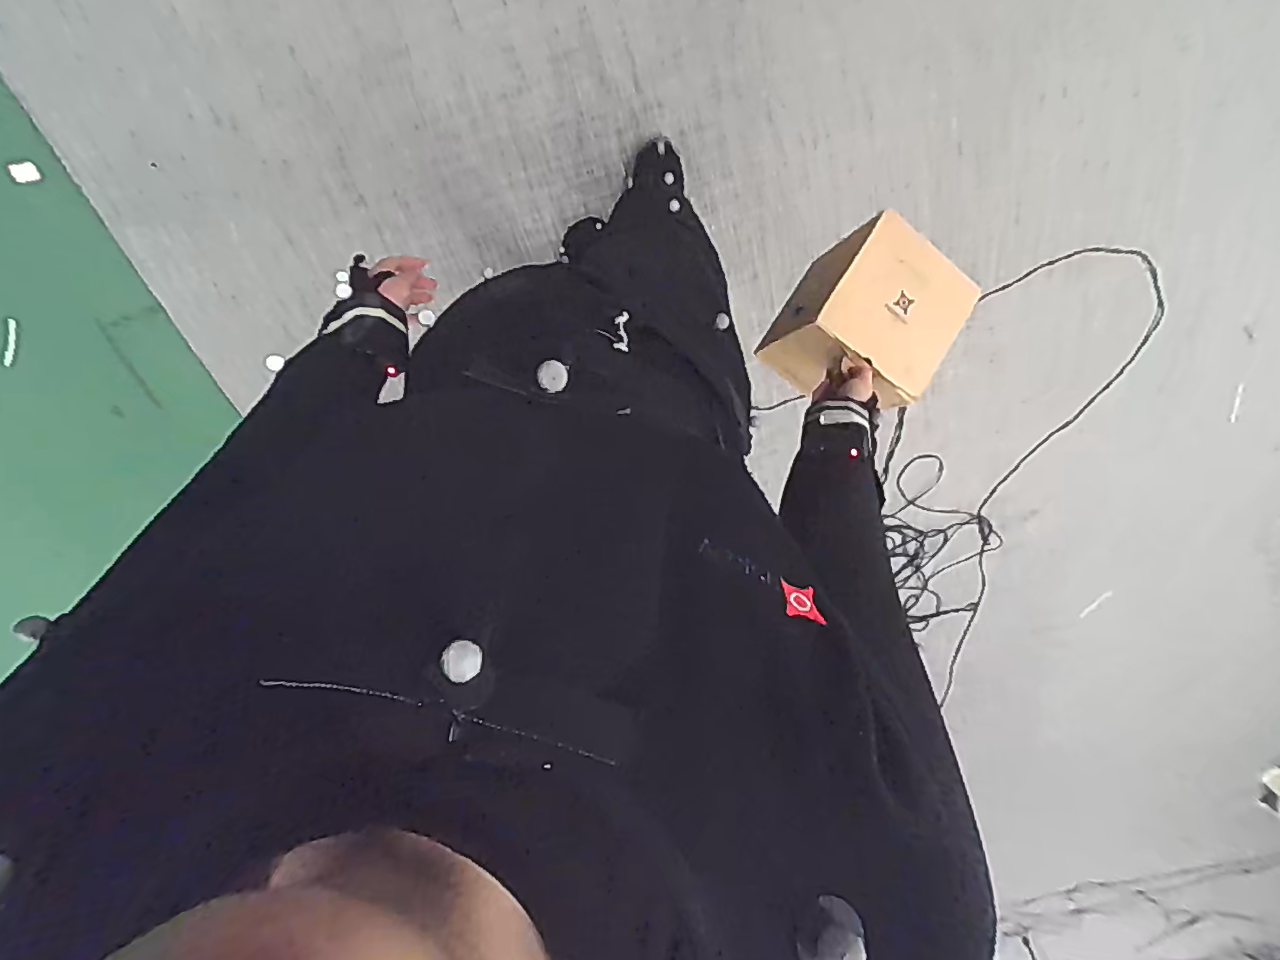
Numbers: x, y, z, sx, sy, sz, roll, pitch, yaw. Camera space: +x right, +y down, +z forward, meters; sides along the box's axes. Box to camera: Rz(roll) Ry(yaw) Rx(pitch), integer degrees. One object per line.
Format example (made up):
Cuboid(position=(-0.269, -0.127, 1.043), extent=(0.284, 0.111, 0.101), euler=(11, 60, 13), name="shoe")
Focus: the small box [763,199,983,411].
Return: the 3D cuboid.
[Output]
Cuboid(position=(0.286, -0.208, 0.703), extent=(0.168, 0.176, 0.179), euler=(34, 81, -11), name="small box")
